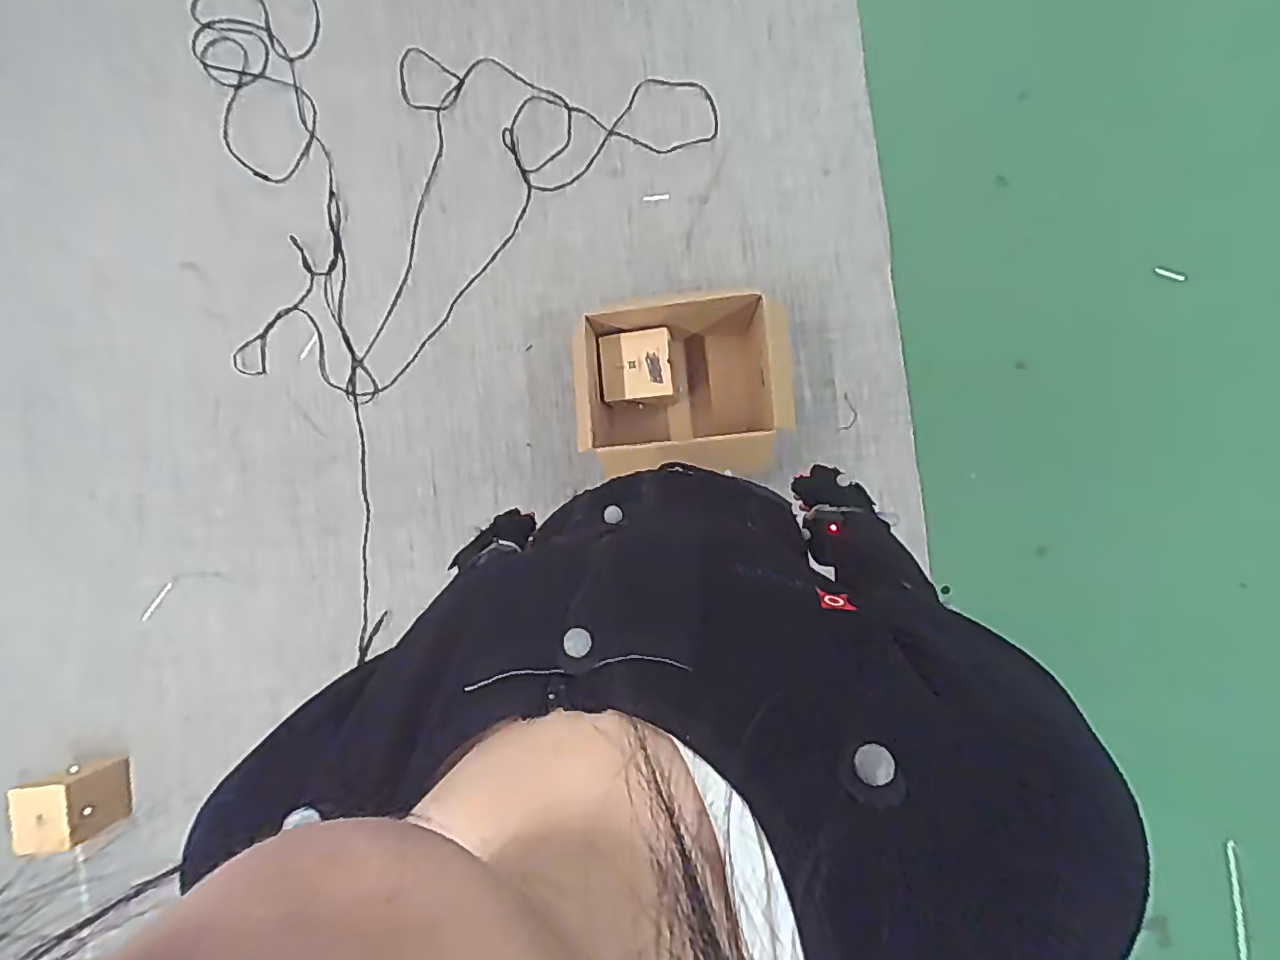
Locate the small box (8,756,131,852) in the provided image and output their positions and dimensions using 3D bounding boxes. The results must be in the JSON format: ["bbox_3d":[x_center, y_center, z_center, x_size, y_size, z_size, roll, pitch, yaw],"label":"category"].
[{"bbox_3d":[-1.590,0.896,1.516,0.168,0.176,0.179,-7,90,3],"label":"small box"}]
